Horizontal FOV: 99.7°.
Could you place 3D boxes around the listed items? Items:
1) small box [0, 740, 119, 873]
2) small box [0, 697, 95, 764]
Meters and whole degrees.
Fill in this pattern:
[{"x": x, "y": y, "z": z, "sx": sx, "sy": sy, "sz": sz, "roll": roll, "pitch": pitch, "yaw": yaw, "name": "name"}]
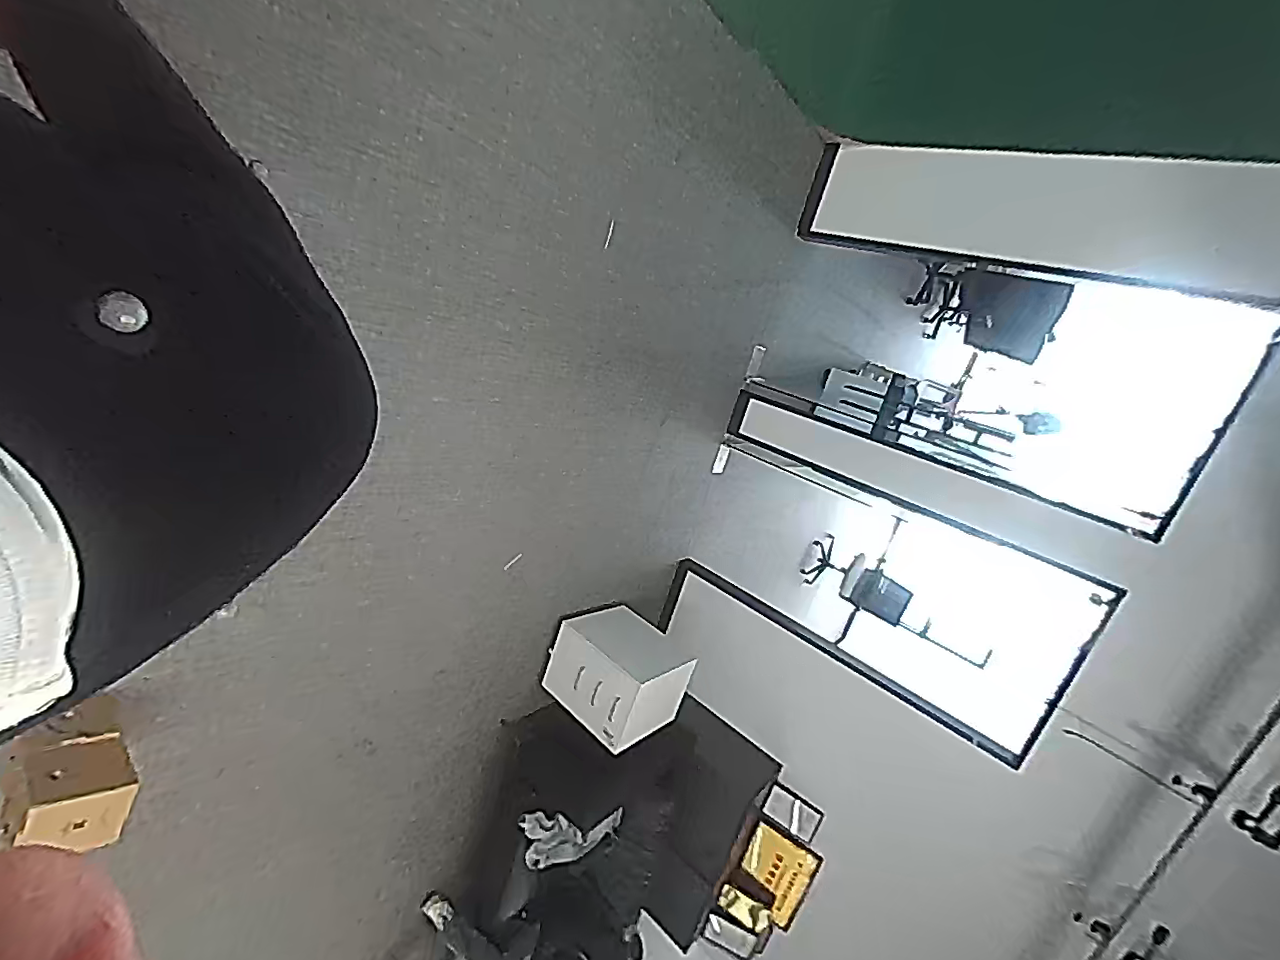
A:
[{"x": -1.317, "y": 0.714, "z": 1.198, "sx": 0.179, "sy": 0.176, "sz": 0.168, "roll": 18, "pitch": 100, "yaw": -58, "name": "small box"}, {"x": -1.433, "y": 0.658, "z": 1.285, "sx": 0.179, "sy": 0.176, "sz": 0.168, "roll": -31, "pitch": 138, "yaw": -41, "name": "small box"}]
